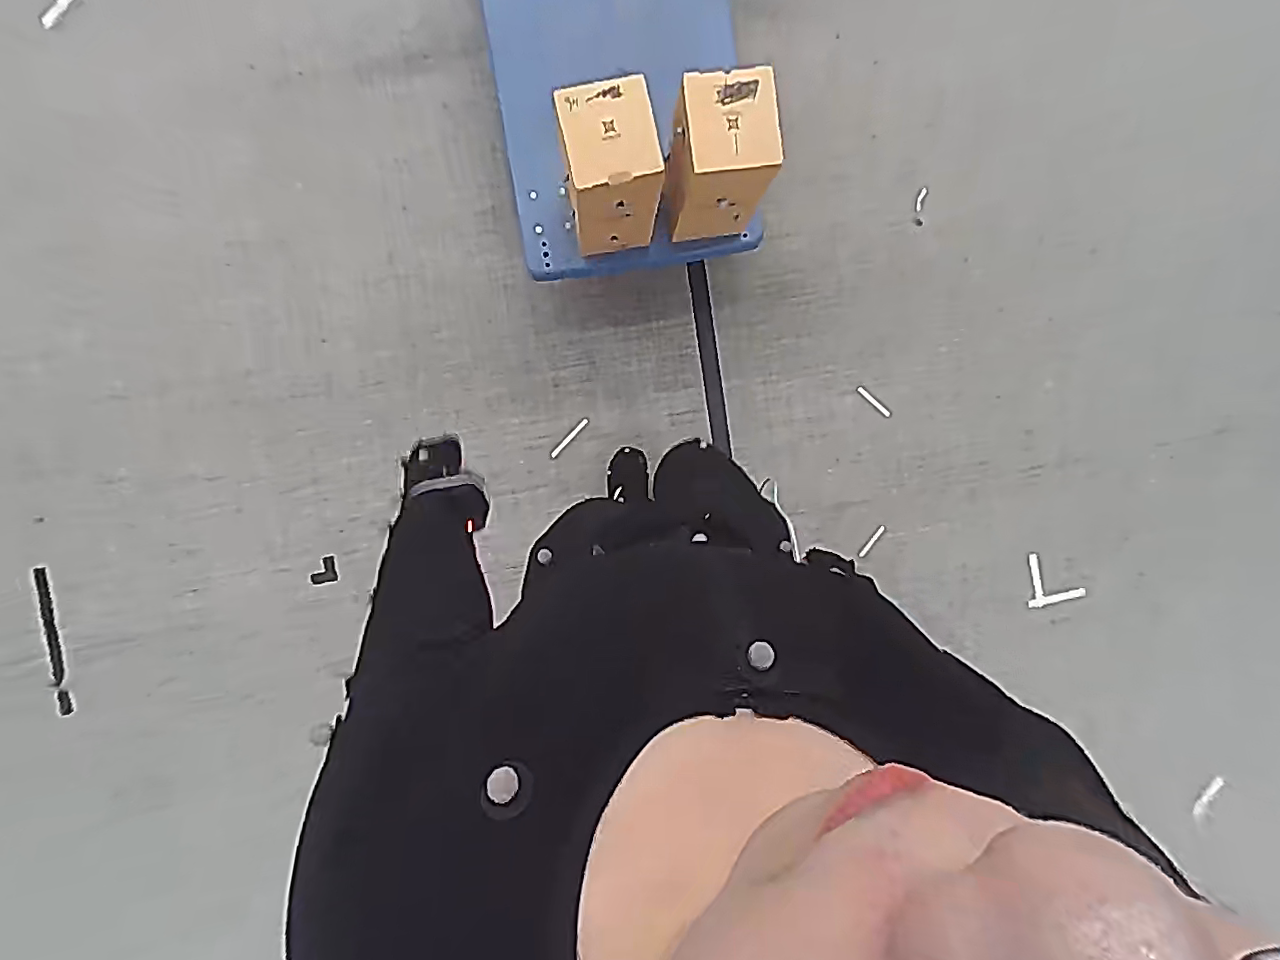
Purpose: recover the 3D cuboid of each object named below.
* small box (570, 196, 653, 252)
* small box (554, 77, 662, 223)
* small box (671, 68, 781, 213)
[{"bbox_3d":[-0.069,-0.622,1.196,0.168,0.176,0.179,-11,93,-4],"label":"small box"},{"bbox_3d":[-0.060,-0.613,1.032,0.168,0.176,0.179,-13,94,-3],"label":"small box"},{"bbox_3d":[0.158,-0.645,1.043,0.168,0.176,0.179,-7,93,-4],"label":"small box"}]
